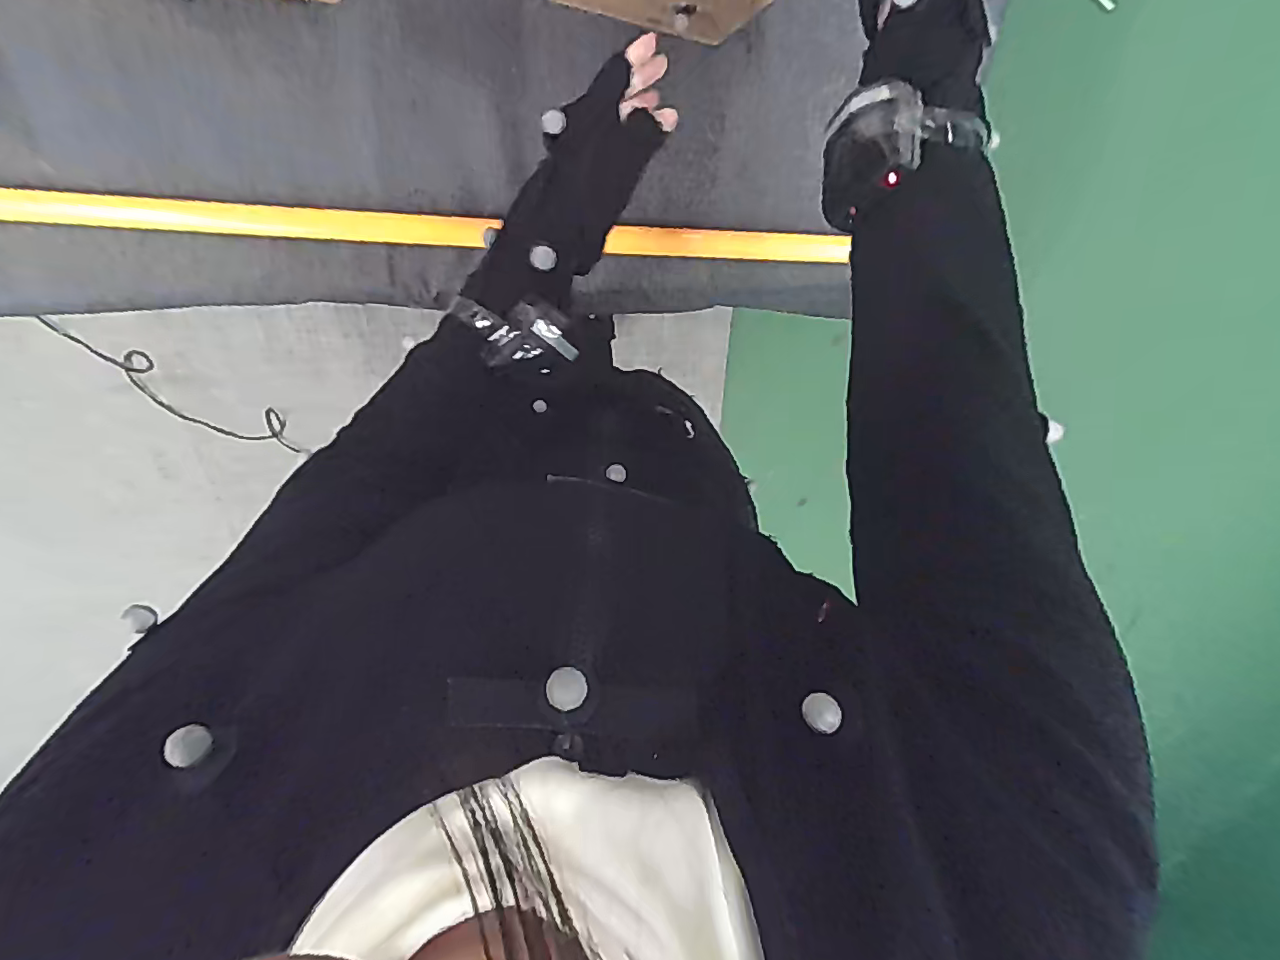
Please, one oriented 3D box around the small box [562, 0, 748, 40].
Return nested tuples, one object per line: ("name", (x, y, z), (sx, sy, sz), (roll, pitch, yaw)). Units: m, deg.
("small box", (0.012, -0.425, 0.353), (0.168, 0.176, 0.179), (6, 118, -11))
